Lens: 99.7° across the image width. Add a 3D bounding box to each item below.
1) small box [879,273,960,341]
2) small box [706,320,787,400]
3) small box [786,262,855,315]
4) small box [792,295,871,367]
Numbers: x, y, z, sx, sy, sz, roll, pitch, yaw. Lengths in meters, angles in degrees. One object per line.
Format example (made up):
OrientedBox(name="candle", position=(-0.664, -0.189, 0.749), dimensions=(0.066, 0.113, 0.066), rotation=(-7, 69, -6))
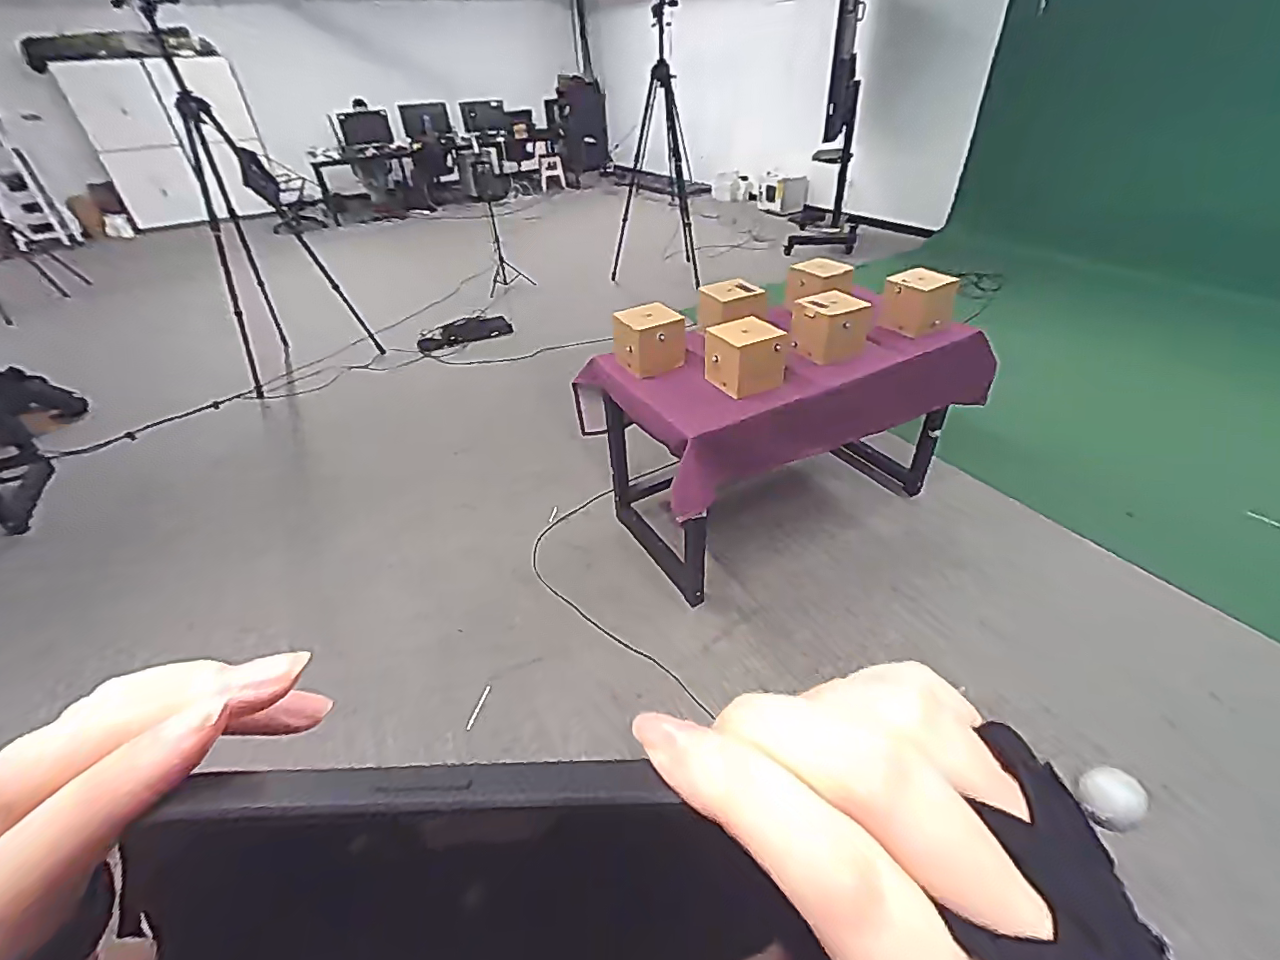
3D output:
OrientedBox(name="small box", position=(0.963, -0.602, 1.881), dimensions=(0.179, 0.176, 0.168), rotation=(-21, 40, -22))
OrientedBox(name="small box", position=(0.314, -0.358, 1.617), dimensions=(0.179, 0.176, 0.168), rotation=(-19, 40, -21))
OrientedBox(name="small box", position=(0.674, -0.706, 2.038), dimensions=(0.168, 0.176, 0.179), rotation=(-23, 42, -23))
OrientedBox(name="small box", position=(0.614, -0.483, 1.755), dimensions=(0.179, 0.176, 0.168), rotation=(-18, 40, -19))
